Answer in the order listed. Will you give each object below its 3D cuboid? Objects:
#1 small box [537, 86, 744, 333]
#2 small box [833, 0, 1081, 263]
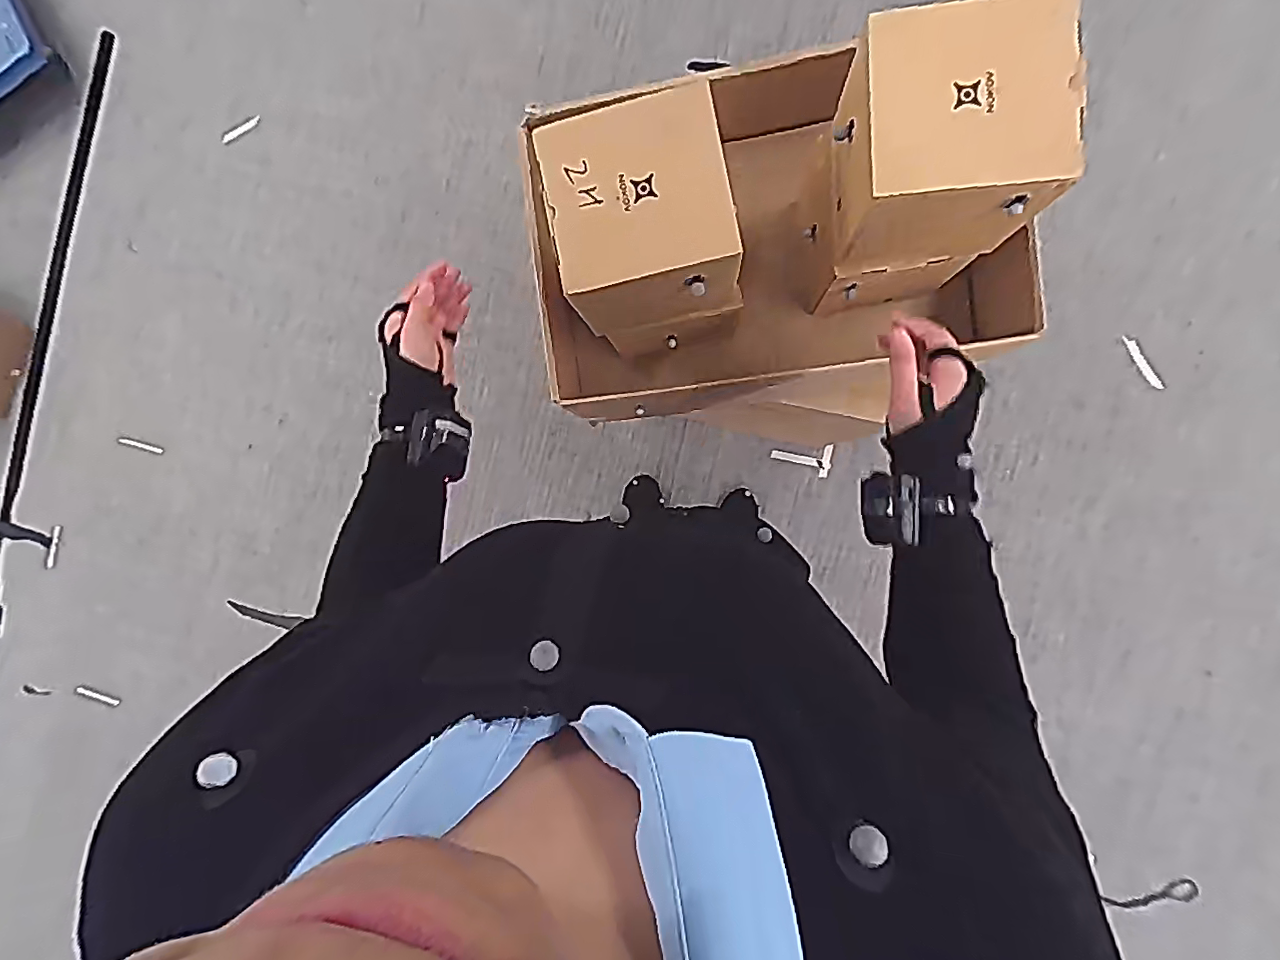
[{"bbox_3d":[0.007,-0.275,0.592,0.179,0.176,0.168,-11,90,7],"label":"small box"},{"bbox_3d":[0.302,-0.338,0.556,0.179,0.176,0.168,-2,91,7],"label":"small box"}]
